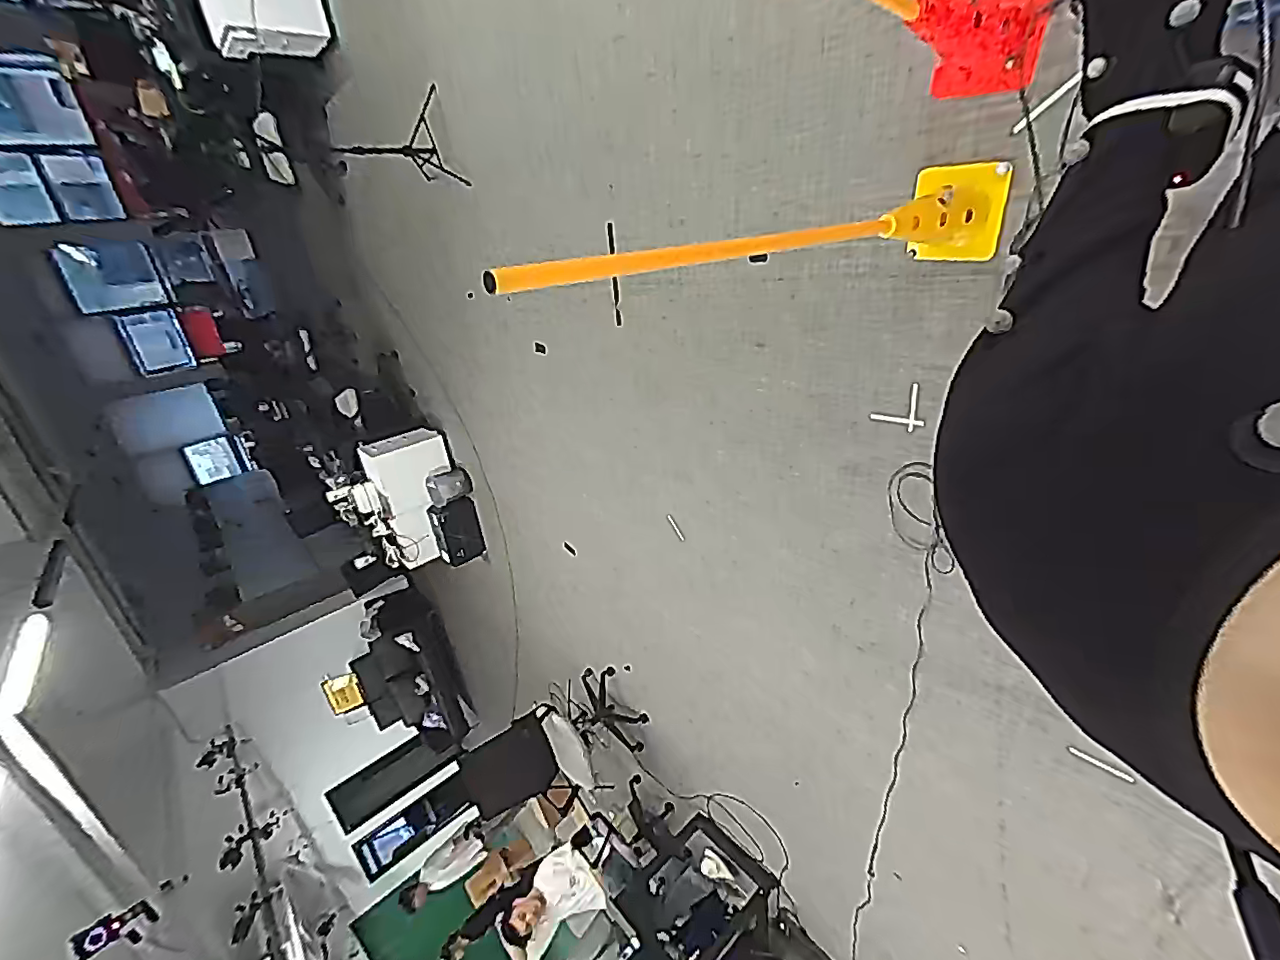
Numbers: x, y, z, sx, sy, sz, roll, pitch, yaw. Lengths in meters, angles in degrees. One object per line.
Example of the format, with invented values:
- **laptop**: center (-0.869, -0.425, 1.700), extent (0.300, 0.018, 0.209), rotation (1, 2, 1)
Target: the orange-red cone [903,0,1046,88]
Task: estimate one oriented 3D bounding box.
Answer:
- **orange-red cone**: center (0.578, -0.862, 0.996), extent (0.198, 0.360, 0.199), rotation (28, 130, 39)
